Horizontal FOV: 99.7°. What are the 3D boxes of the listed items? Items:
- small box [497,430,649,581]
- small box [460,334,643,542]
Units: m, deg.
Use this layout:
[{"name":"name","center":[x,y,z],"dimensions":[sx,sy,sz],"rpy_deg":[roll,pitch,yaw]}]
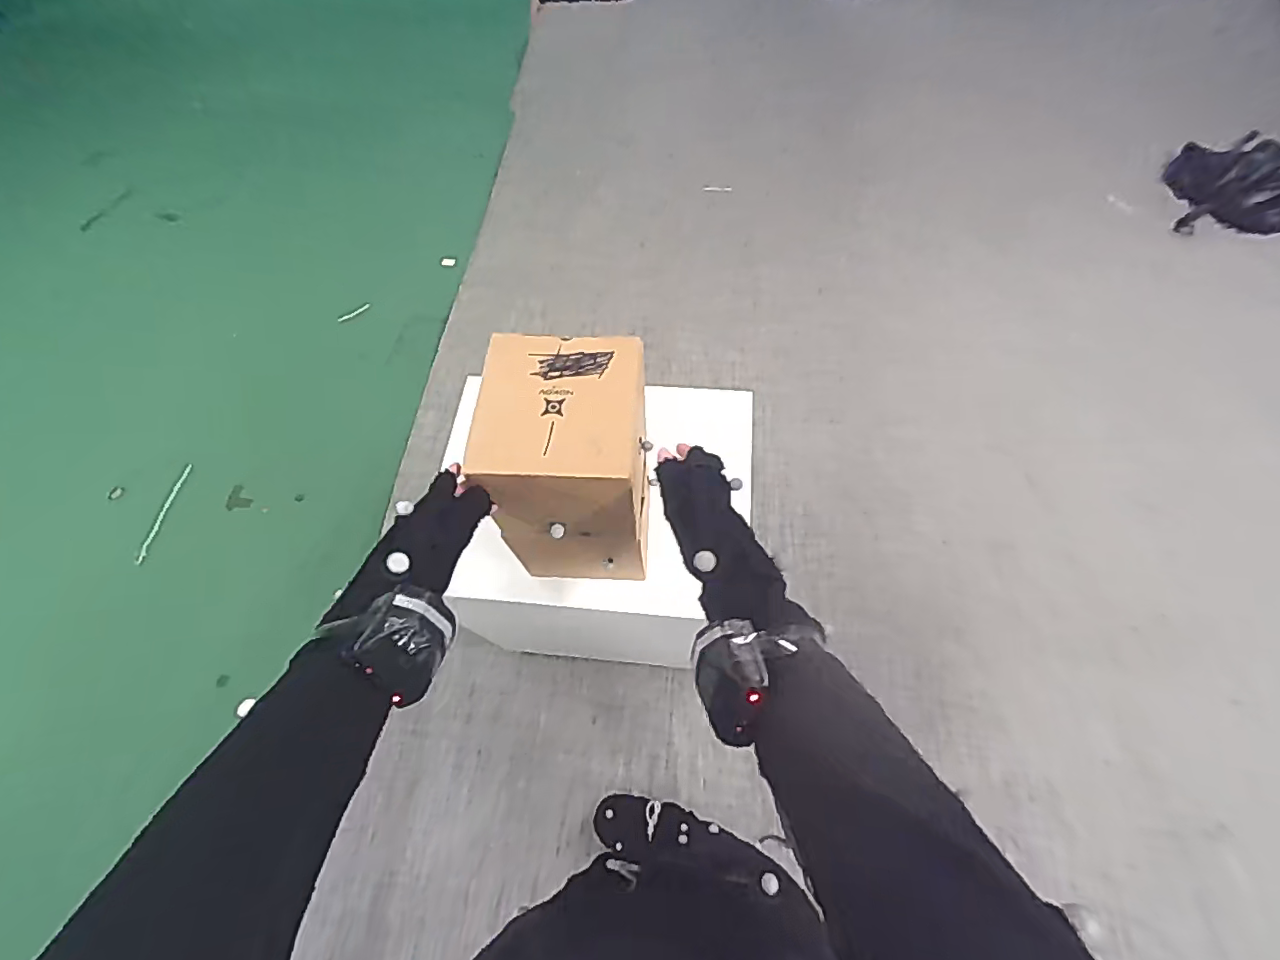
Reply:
[{"name":"small box","center":[-0.079,0.038,0.759],"dimensions":[0.179,0.176,0.168],"rpy_deg":[0,62,5]},{"name":"small box","center":[-0.084,-0.043,0.616],"dimensions":[0.168,0.176,0.179],"rpy_deg":[-1,61,3]}]
